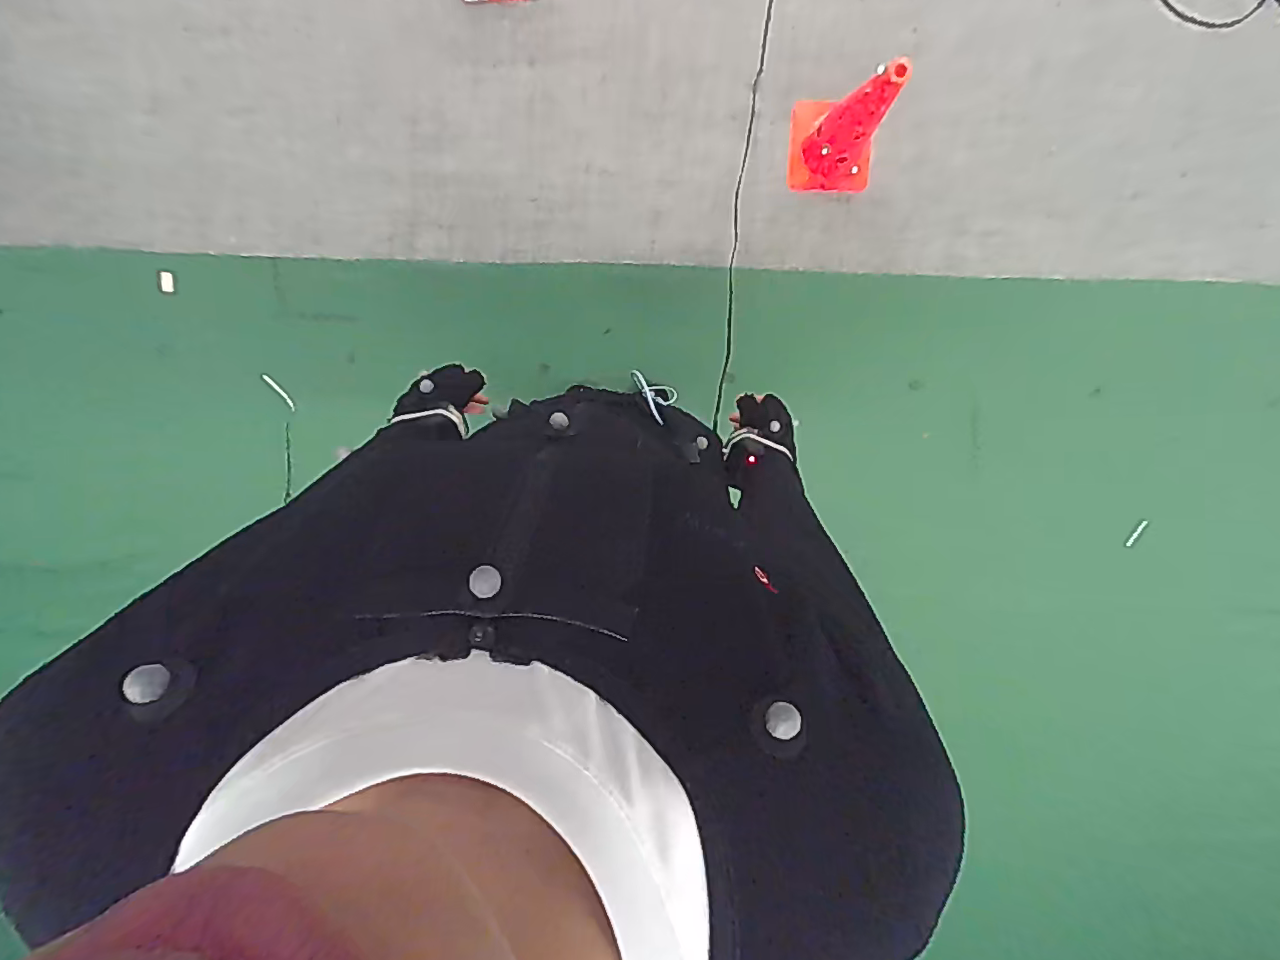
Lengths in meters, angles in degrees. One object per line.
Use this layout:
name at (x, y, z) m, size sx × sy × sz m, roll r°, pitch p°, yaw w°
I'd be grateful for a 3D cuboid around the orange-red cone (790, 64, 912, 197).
orange-red cone at (0.475, -0.778, 1.162) m, size 0.198 × 0.360 × 0.199 m, roll 2°, pitch 100°, yaw -2°
